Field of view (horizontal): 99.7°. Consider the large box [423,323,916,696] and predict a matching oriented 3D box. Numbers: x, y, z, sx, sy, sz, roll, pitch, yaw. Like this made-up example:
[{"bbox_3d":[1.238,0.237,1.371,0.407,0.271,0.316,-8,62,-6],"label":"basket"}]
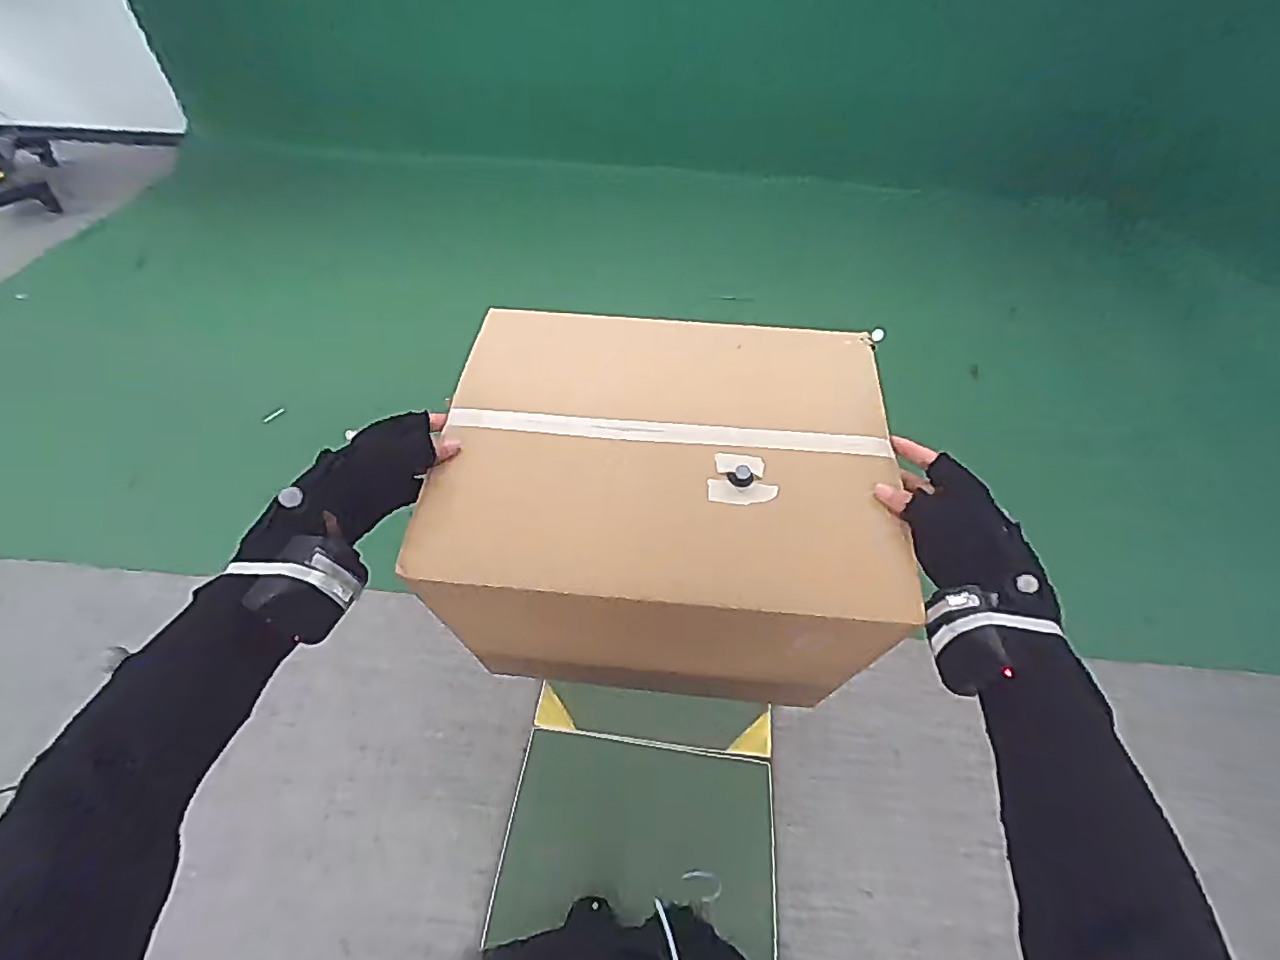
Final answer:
[{"bbox_3d":[0.028,0.047,0.633,0.408,0.320,0.320,5,57,2],"label":"large box"}]
